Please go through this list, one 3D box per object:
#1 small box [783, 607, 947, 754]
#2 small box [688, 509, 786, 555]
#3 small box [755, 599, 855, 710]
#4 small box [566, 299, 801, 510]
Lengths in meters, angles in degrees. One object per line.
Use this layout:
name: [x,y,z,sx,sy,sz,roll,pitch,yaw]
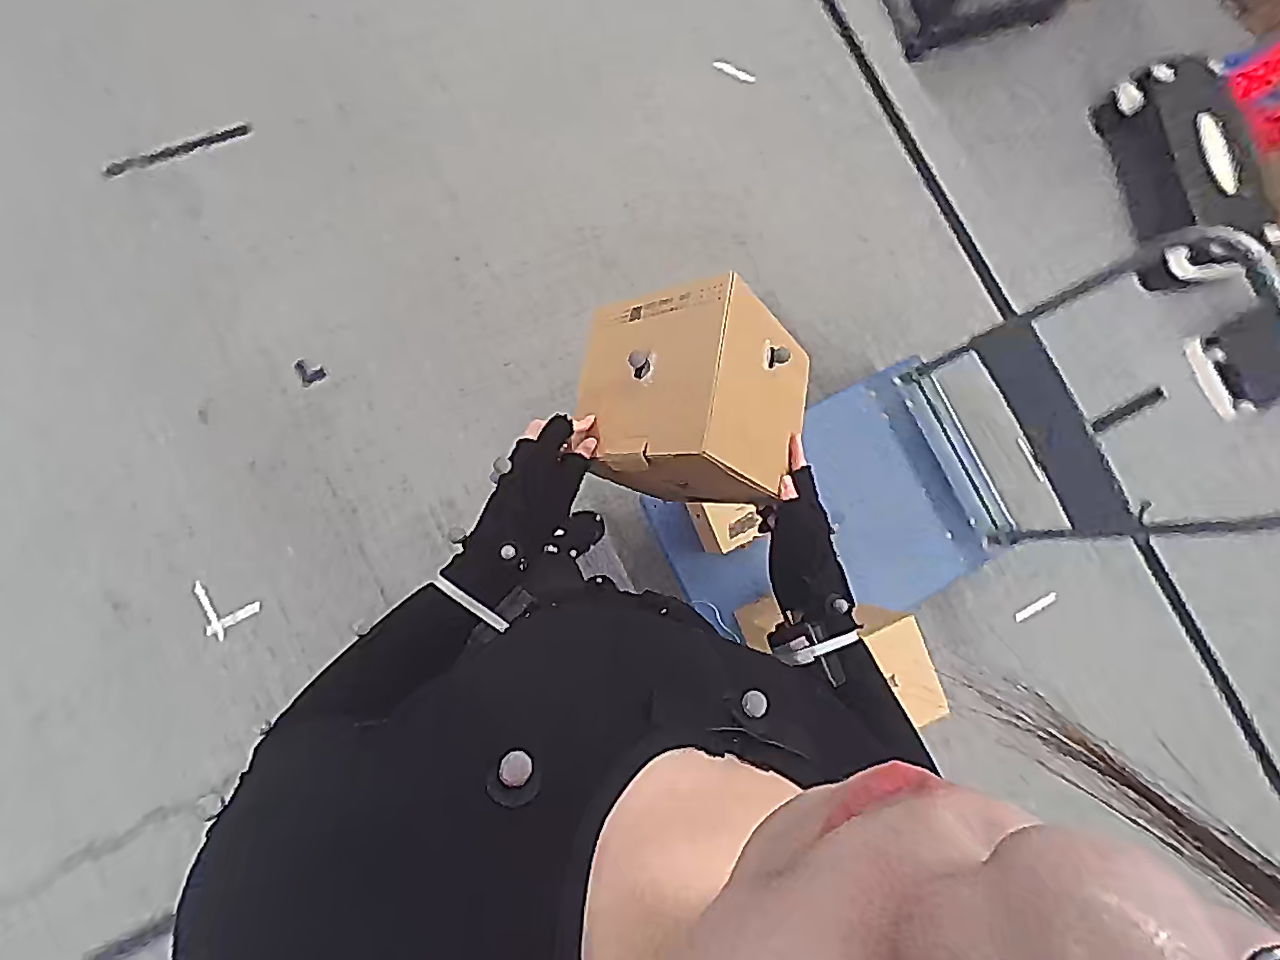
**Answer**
small box: [0.378,0.333,0.938,0.179,0.176,0.168,-19,87,-8]
small box: [0.215,0.066,1.279,0.168,0.176,0.179,-22,86,-9]
small box: [0.356,0.351,1.100,0.168,0.176,0.179,-21,87,-8]
small box: [0.052,-0.070,0.560,0.179,0.168,0.176,23,73,-47]
